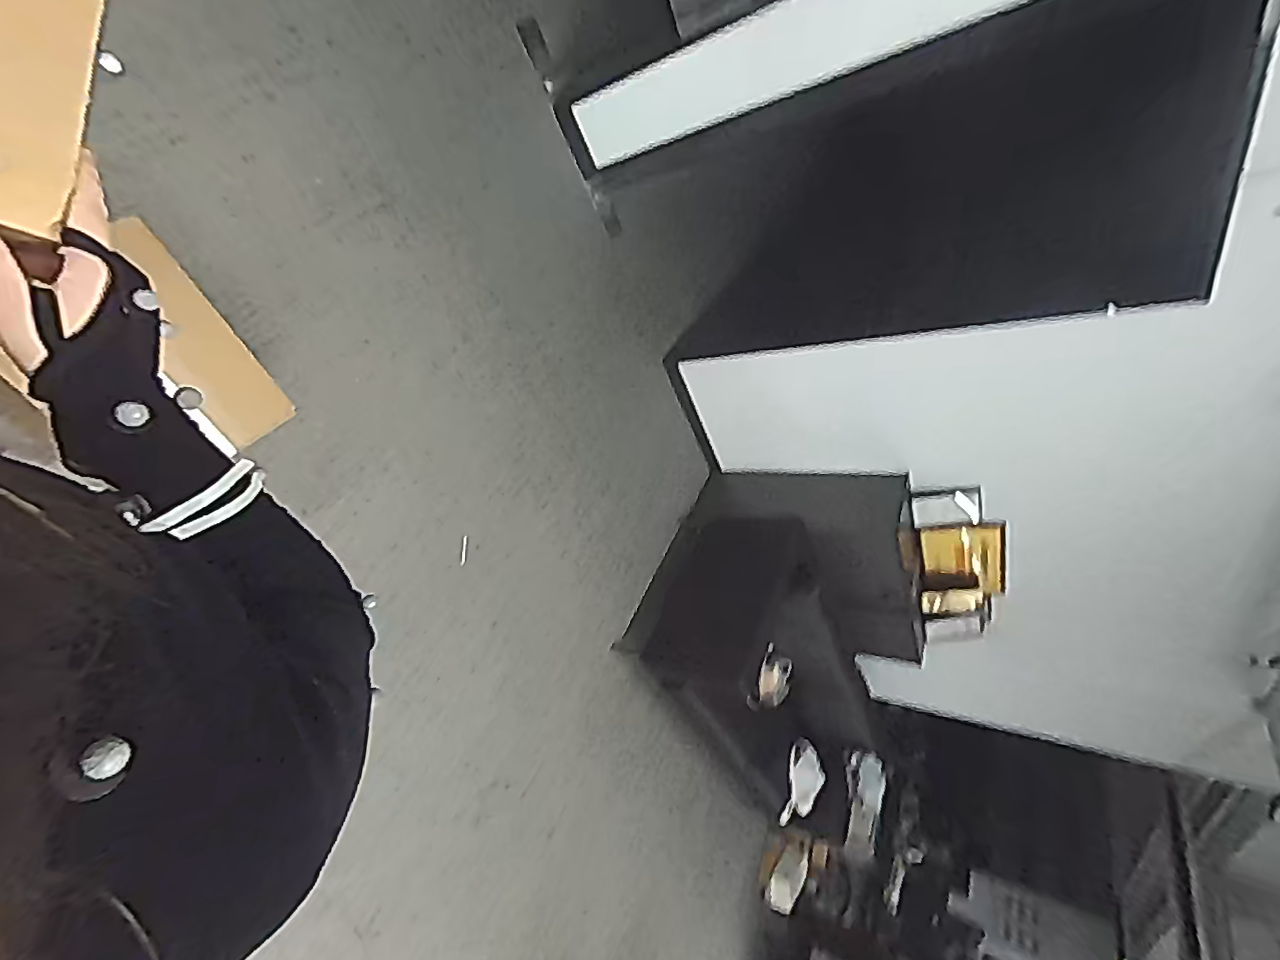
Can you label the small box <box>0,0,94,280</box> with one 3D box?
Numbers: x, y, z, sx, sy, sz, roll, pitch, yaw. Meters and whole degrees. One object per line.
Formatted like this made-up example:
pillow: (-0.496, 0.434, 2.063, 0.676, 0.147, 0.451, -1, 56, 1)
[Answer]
small box: (-0.448, -0.235, 0.307, 0.168, 0.176, 0.179, 7, 86, -53)
